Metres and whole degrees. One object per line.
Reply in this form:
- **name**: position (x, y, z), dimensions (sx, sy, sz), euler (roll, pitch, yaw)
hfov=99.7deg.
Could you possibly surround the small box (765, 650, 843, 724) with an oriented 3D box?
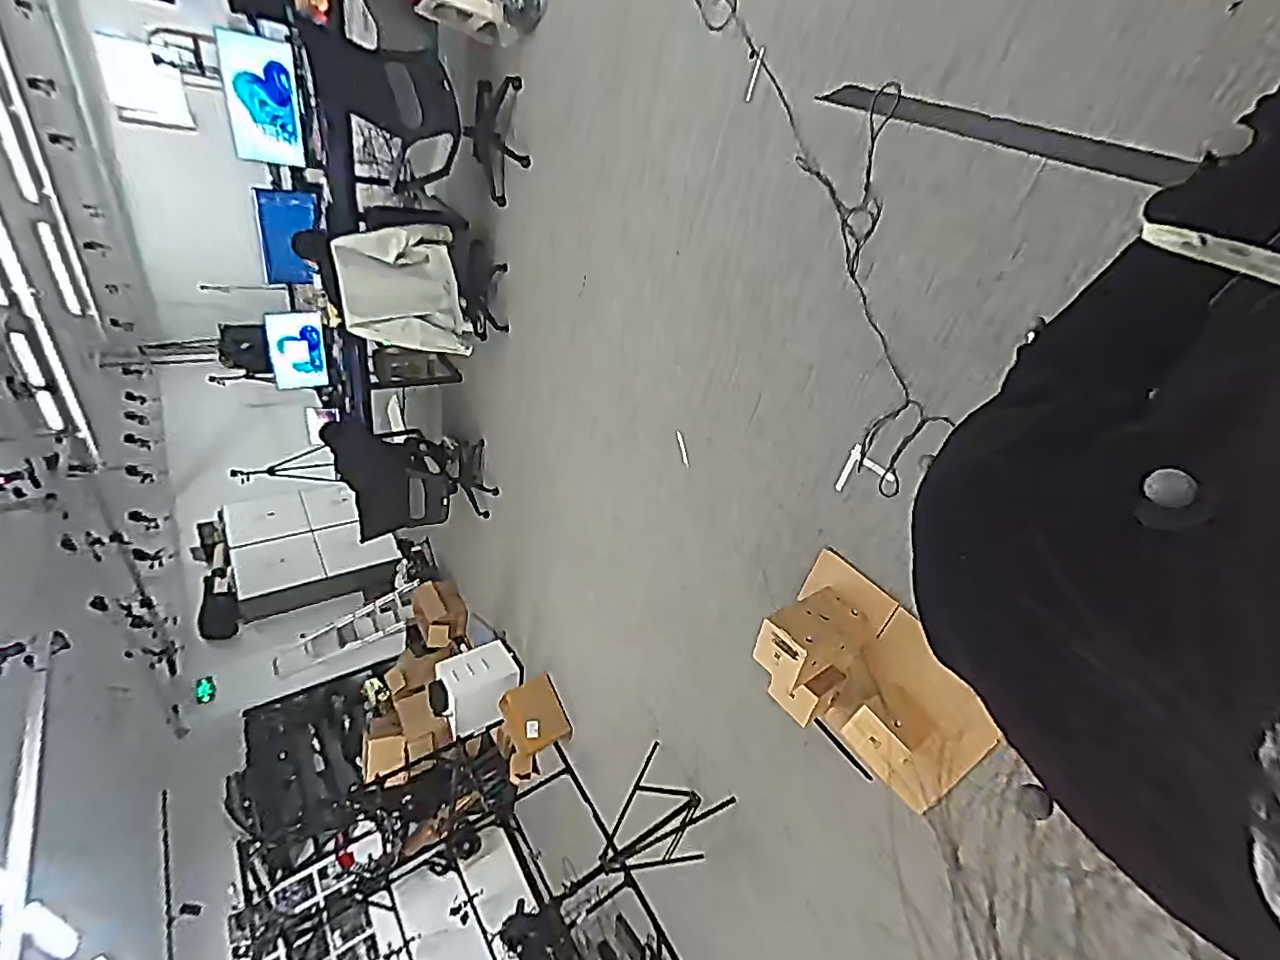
- **small box**: position (0.582, 0.718, 1.921), dimensions (0.179, 0.176, 0.168), euler (39, 132, 39)

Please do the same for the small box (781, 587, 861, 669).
- **small box**: position (0.607, 0.487, 1.804), dimensions (0.168, 0.176, 0.179), euler (40, 131, 40)

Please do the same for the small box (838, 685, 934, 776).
- **small box**: position (0.766, 0.769, 1.683), dimensions (0.179, 0.176, 0.168), euler (46, 135, 33)
